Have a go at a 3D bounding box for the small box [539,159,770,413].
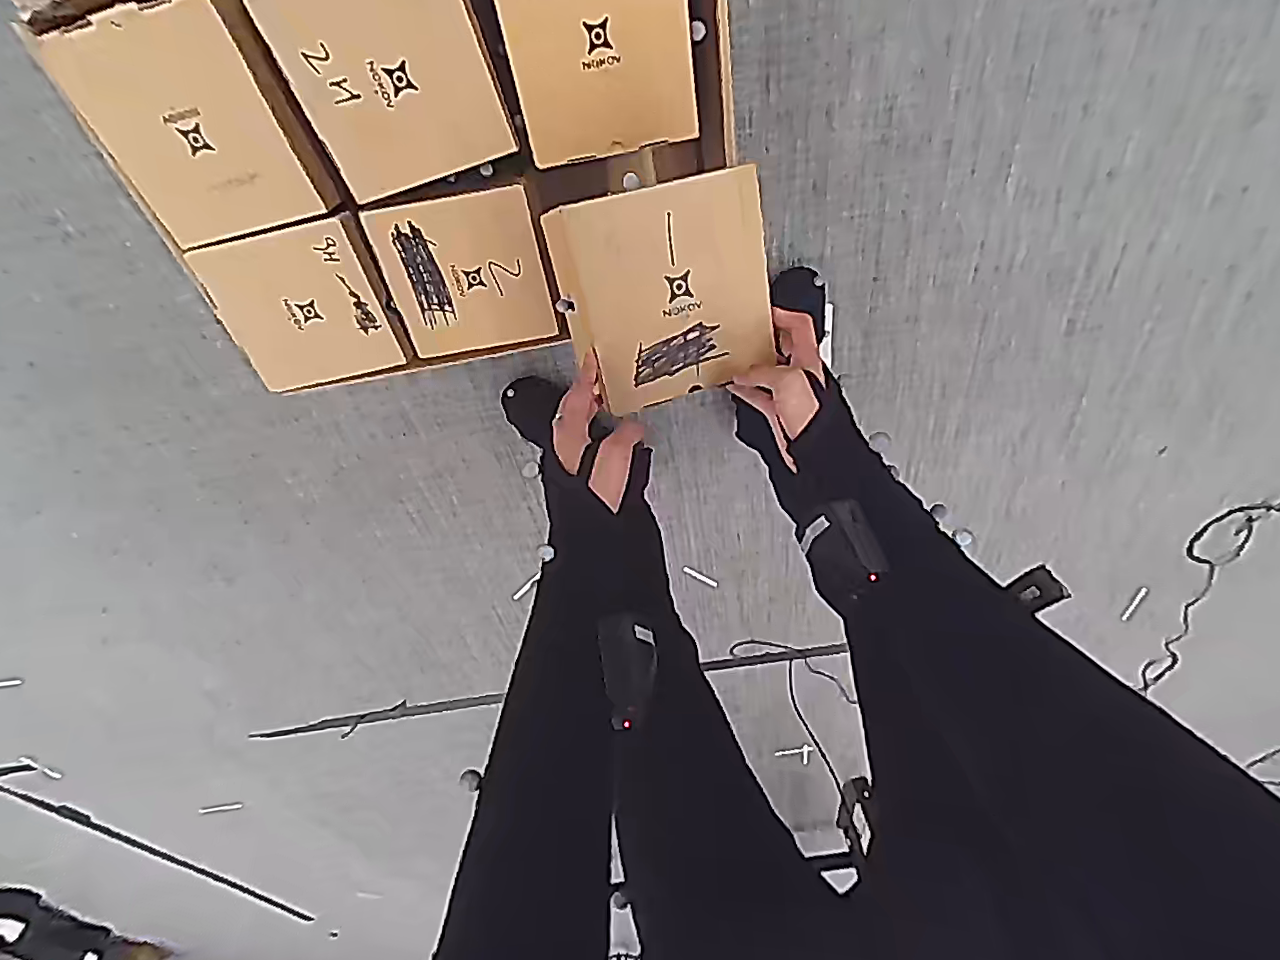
[{"bbox_3d":[0.008,-0.188,0.523,0.168,0.176,0.179,-17,116,-8],"label":"small box"}]
